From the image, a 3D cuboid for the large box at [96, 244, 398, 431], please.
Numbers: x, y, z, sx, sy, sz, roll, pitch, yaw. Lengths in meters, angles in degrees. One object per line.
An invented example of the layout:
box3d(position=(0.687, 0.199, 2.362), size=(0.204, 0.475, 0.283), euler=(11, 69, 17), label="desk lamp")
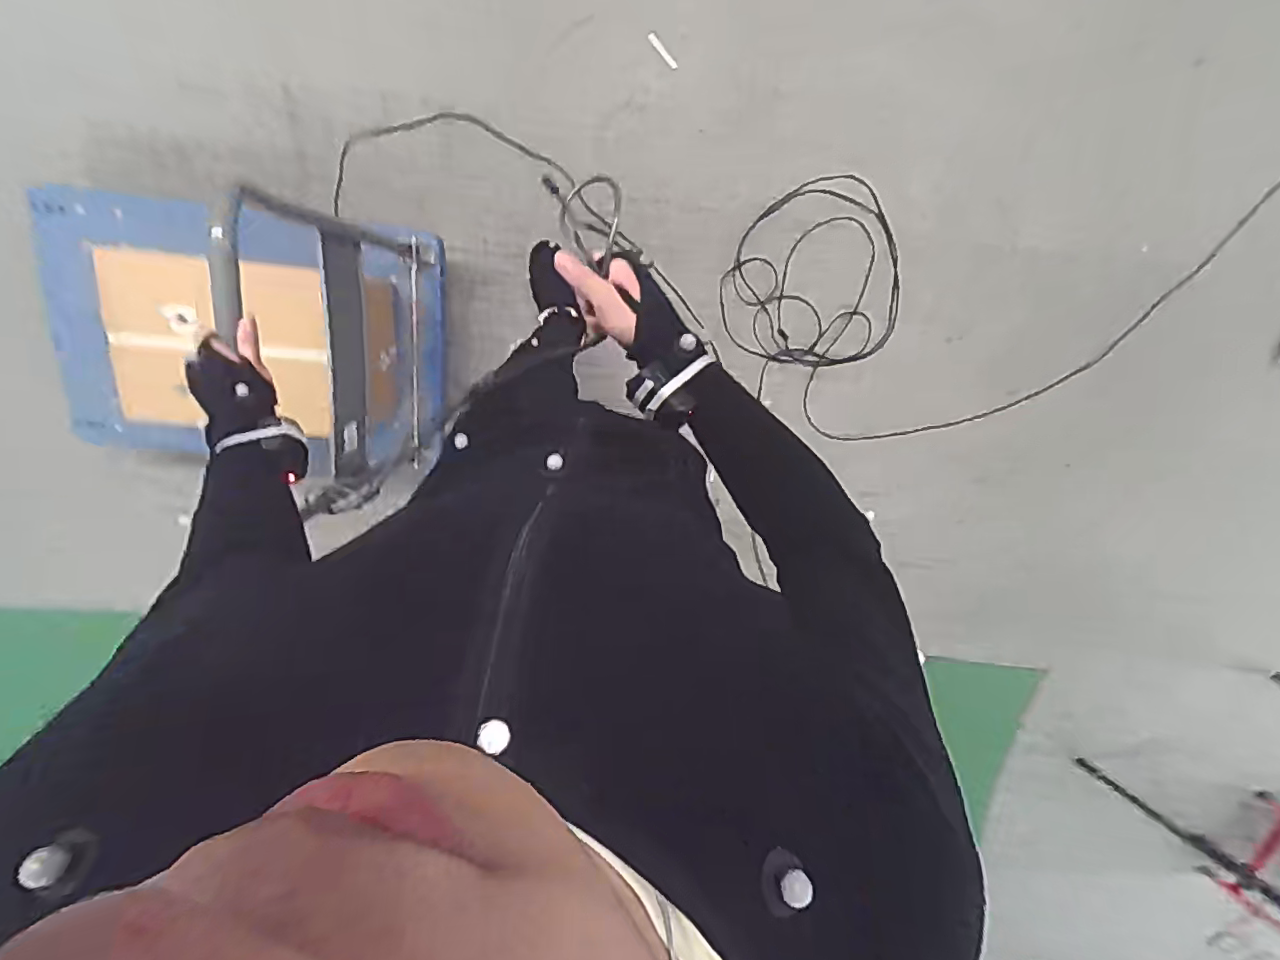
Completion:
box3d(position=(-0.777, -0.302, 1.146), size=(0.408, 0.320, 0.320), euler=(5, 107, -5), label="large box")
